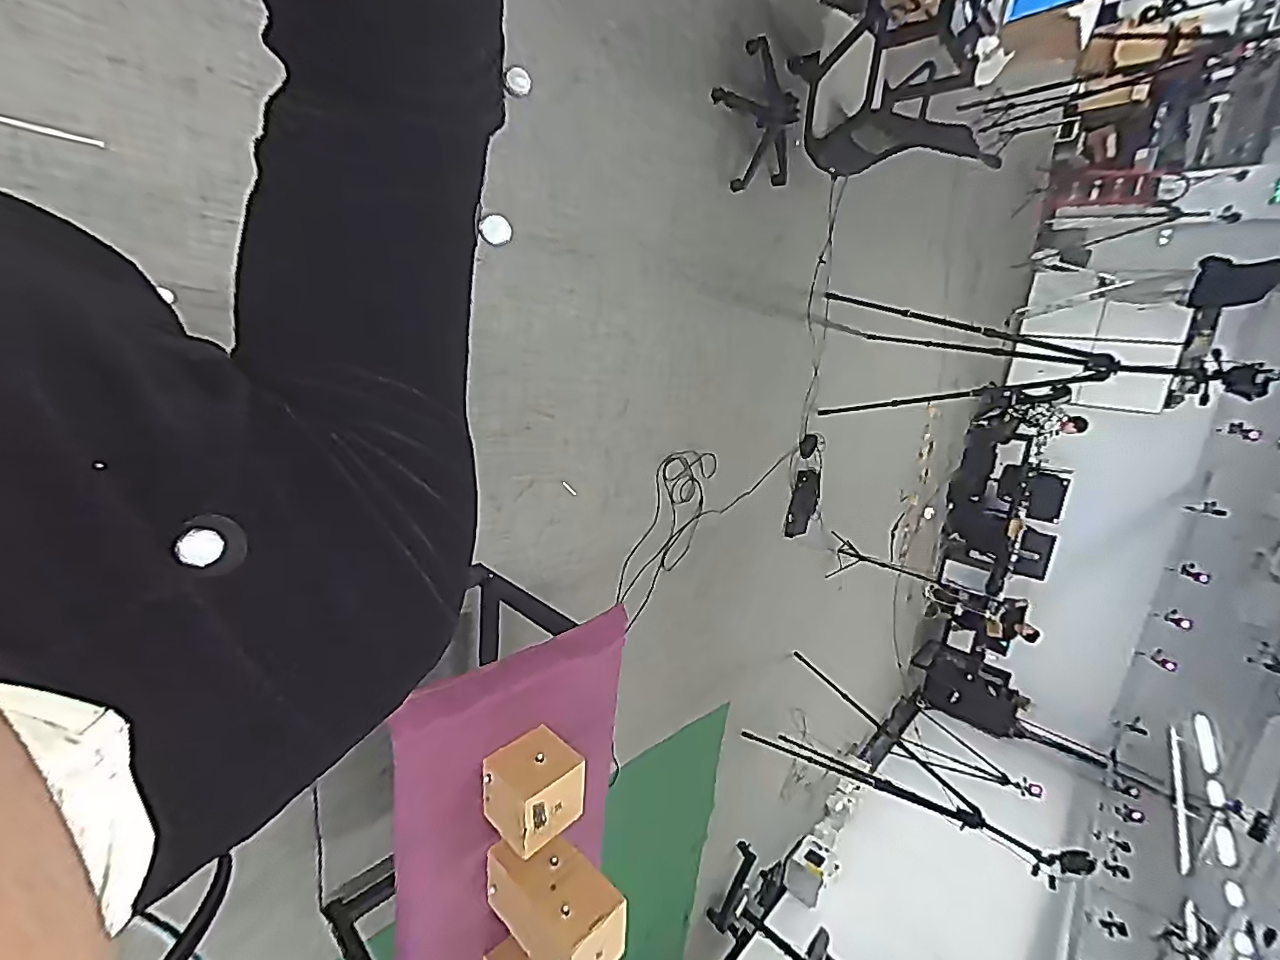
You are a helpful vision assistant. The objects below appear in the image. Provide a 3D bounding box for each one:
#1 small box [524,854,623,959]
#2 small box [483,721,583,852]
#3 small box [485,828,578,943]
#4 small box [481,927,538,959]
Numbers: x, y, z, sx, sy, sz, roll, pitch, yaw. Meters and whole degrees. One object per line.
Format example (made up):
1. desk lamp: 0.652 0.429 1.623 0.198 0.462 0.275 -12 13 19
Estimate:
1. small box: -0.158 1.026 1.264 0.168 0.176 0.179 -13 113 -45
2. small box: -0.259 0.720 1.291 0.179 0.176 0.168 -13 114 -47
3. small box: -0.277 0.991 1.371 0.168 0.176 0.179 -13 114 -46
4. small box: -0.312 1.325 1.452 0.179 0.176 0.168 -5 106 -48
